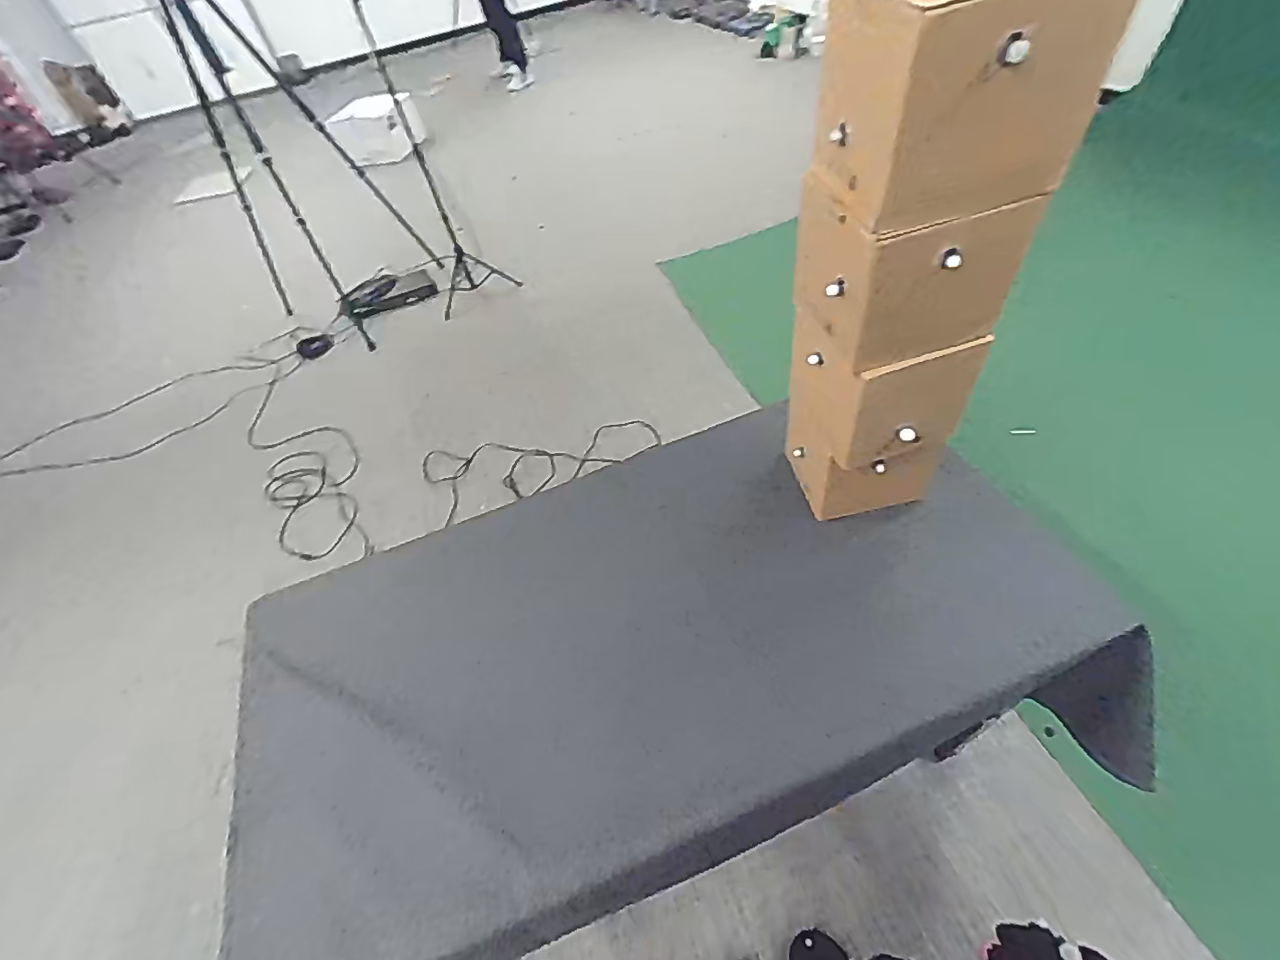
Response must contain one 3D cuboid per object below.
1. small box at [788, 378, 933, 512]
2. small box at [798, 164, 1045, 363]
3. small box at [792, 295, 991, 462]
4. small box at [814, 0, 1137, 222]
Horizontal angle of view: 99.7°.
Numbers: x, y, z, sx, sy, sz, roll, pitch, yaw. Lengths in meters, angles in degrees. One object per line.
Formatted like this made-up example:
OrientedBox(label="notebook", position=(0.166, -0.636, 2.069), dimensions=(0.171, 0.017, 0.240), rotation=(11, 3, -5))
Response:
OrientedBox(label="small box", position=(0.346, -0.069, 0.870), dimensions=(0.179, 0.176, 0.168), rotation=(-12, 51, 1))
OrientedBox(label="small box", position=(0.289, -0.257, 0.609), dimensions=(0.179, 0.176, 0.168), rotation=(-15, 51, -1))
OrientedBox(label="small box", position=(0.319, -0.155, 0.733), dimensions=(0.168, 0.176, 0.179), rotation=(-18, 51, -3))
OrientedBox(label="small box", position=(0.274, -0.362, 0.486), dimensions=(0.179, 0.176, 0.168), rotation=(-14, 51, 1))
